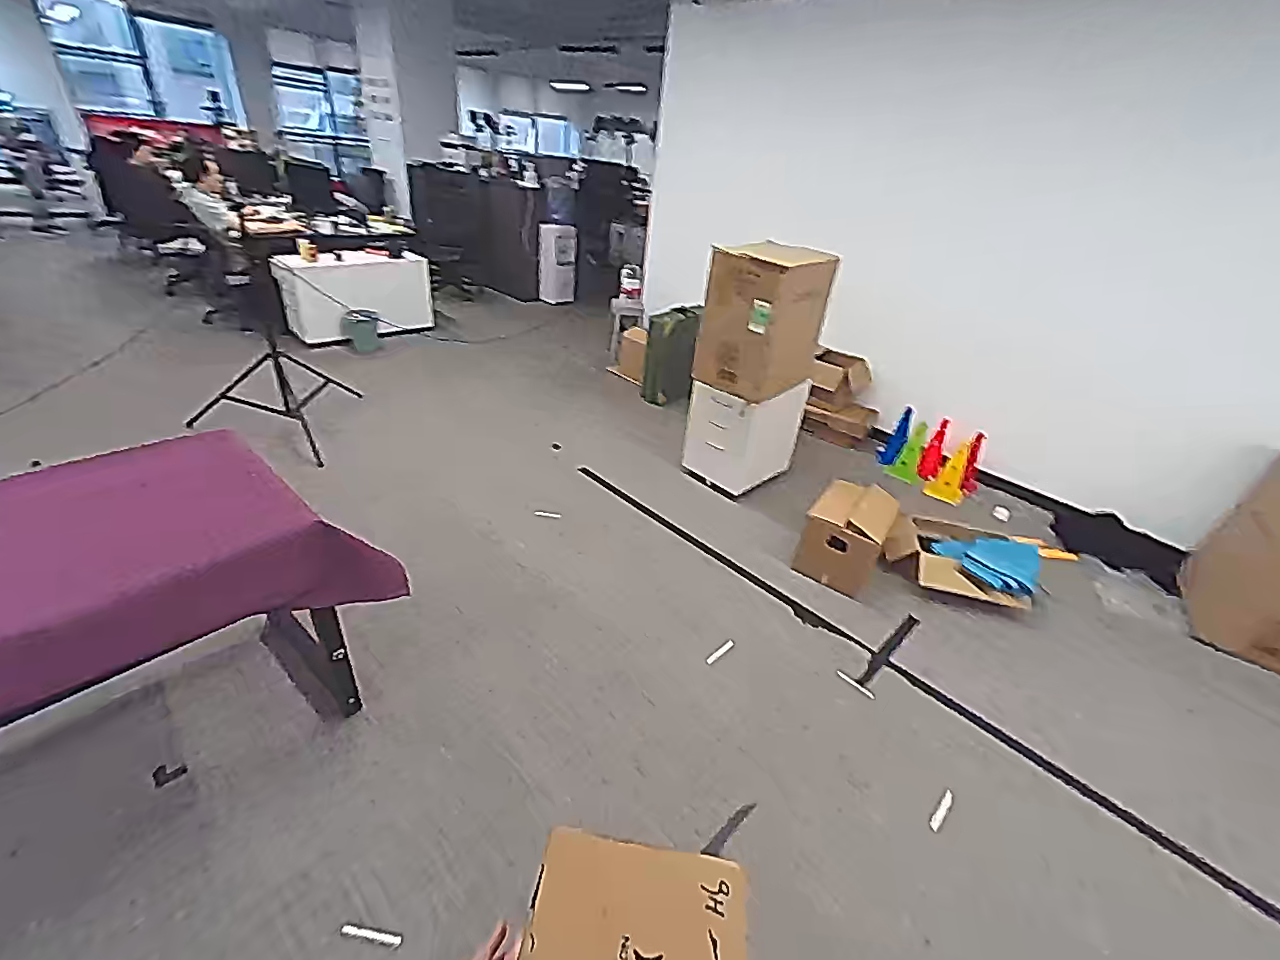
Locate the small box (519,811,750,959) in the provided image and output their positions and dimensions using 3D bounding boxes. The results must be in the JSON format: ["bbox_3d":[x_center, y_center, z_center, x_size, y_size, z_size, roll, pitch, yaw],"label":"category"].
[{"bbox_3d":[-0.011,0.418,0.463,0.179,0.176,0.168,10,39,0],"label":"small box"}]
